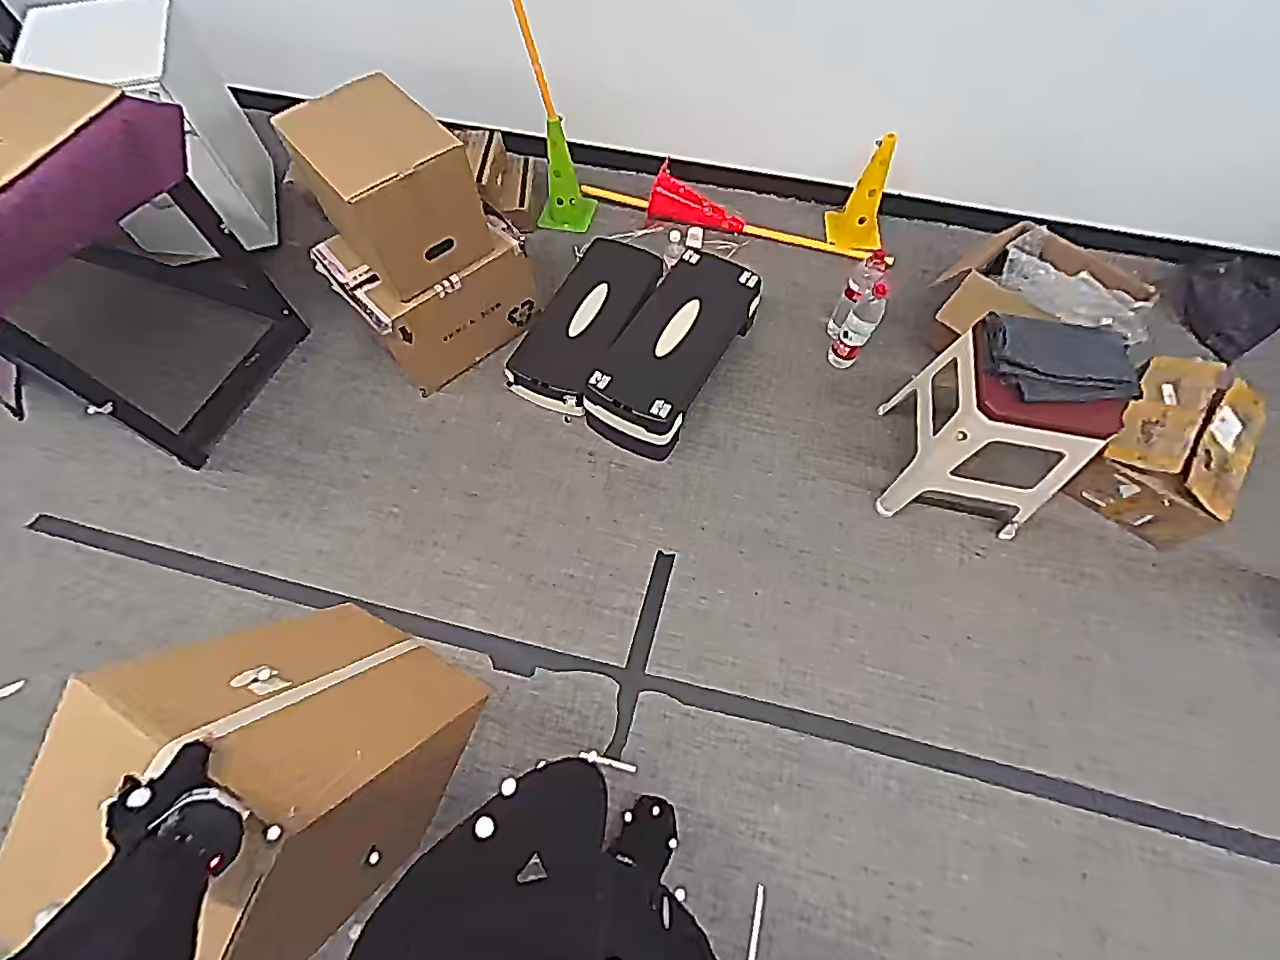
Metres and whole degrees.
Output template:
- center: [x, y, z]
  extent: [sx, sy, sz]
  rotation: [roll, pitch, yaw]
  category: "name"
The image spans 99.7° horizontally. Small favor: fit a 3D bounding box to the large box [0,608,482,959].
- center: [-0.504, 0.430, 0.767]
  extent: [0.320, 0.408, 0.320]
  rotation: [26, 96, 13]
  category: "large box"
